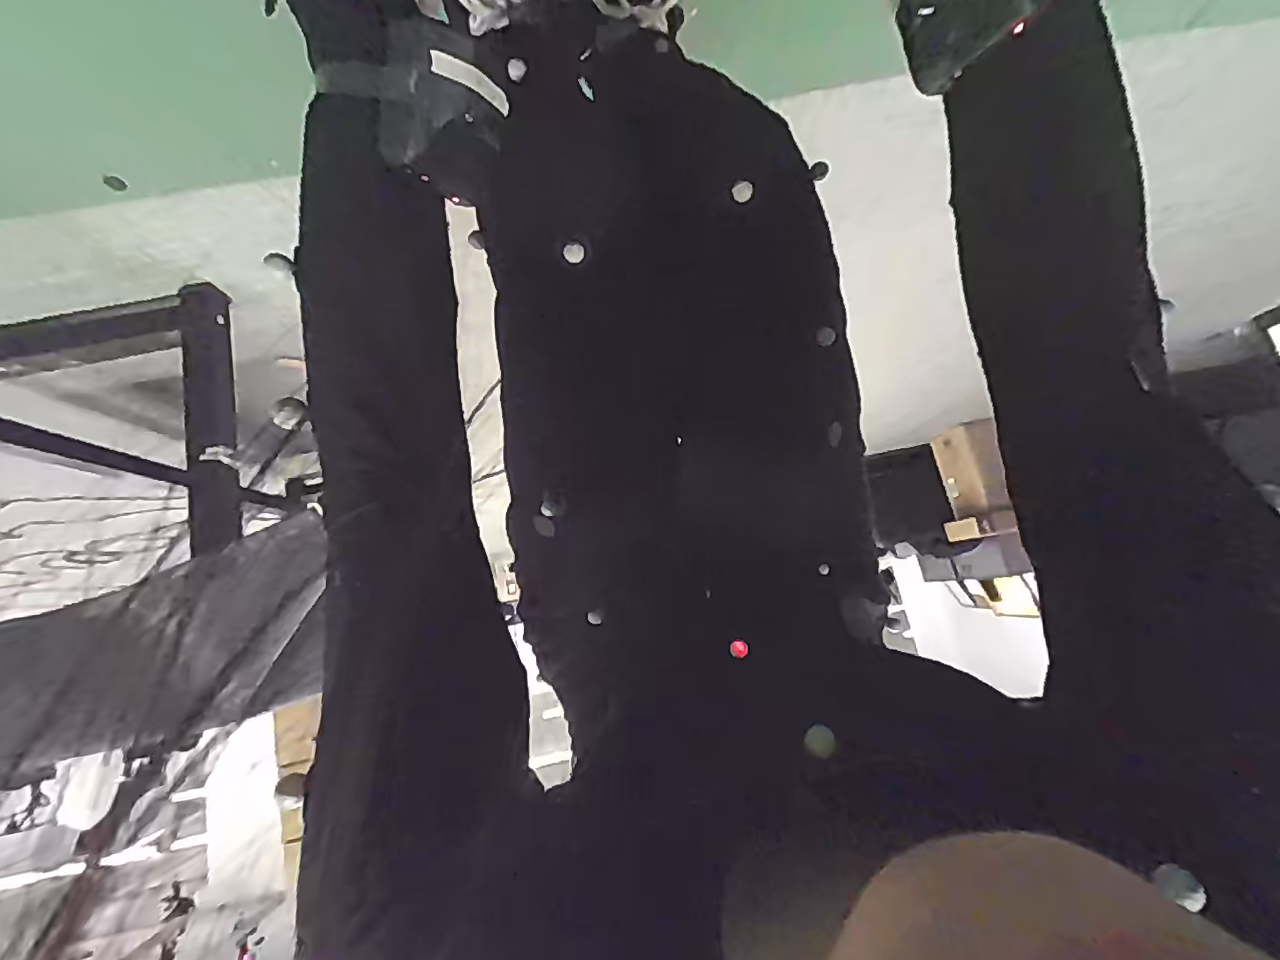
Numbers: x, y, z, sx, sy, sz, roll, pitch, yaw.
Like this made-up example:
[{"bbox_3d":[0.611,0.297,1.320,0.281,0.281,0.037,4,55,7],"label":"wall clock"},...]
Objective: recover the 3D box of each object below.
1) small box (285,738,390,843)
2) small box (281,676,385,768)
[{"bbox_3d":[-0.746,0.758,1.341,0.179,0.176,0.168,-12,167,-3],"label":"small box"},{"bbox_3d":[-0.780,0.603,1.376,0.179,0.176,0.168,-11,167,-2],"label":"small box"}]
